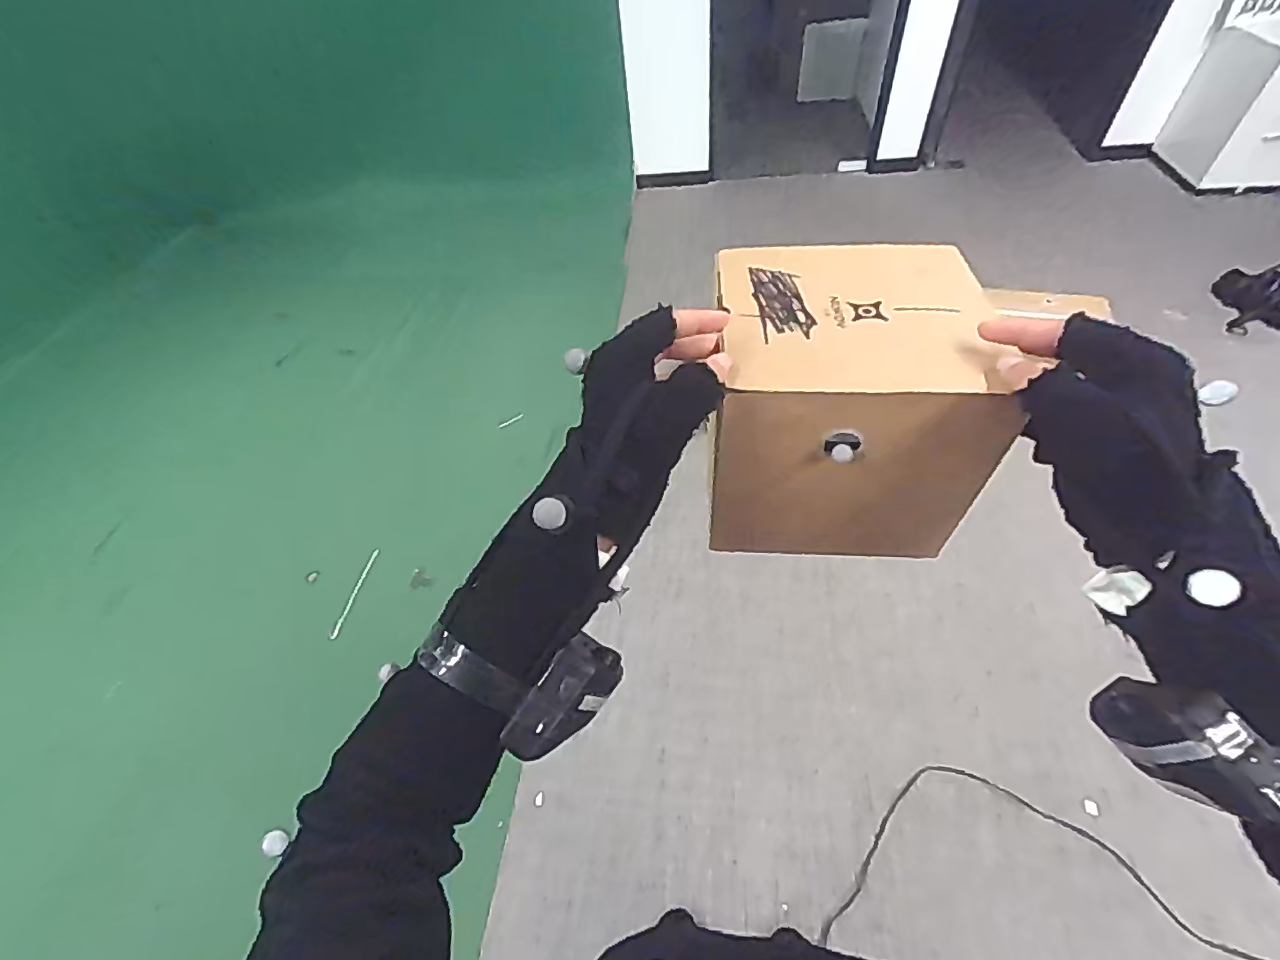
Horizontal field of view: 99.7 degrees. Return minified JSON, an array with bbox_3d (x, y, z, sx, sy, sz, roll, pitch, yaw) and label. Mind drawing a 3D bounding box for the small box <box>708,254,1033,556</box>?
[{"bbox_3d":[0.143,-0.054,0.418,0.179,0.176,0.168,2,50,4],"label":"small box"}]
